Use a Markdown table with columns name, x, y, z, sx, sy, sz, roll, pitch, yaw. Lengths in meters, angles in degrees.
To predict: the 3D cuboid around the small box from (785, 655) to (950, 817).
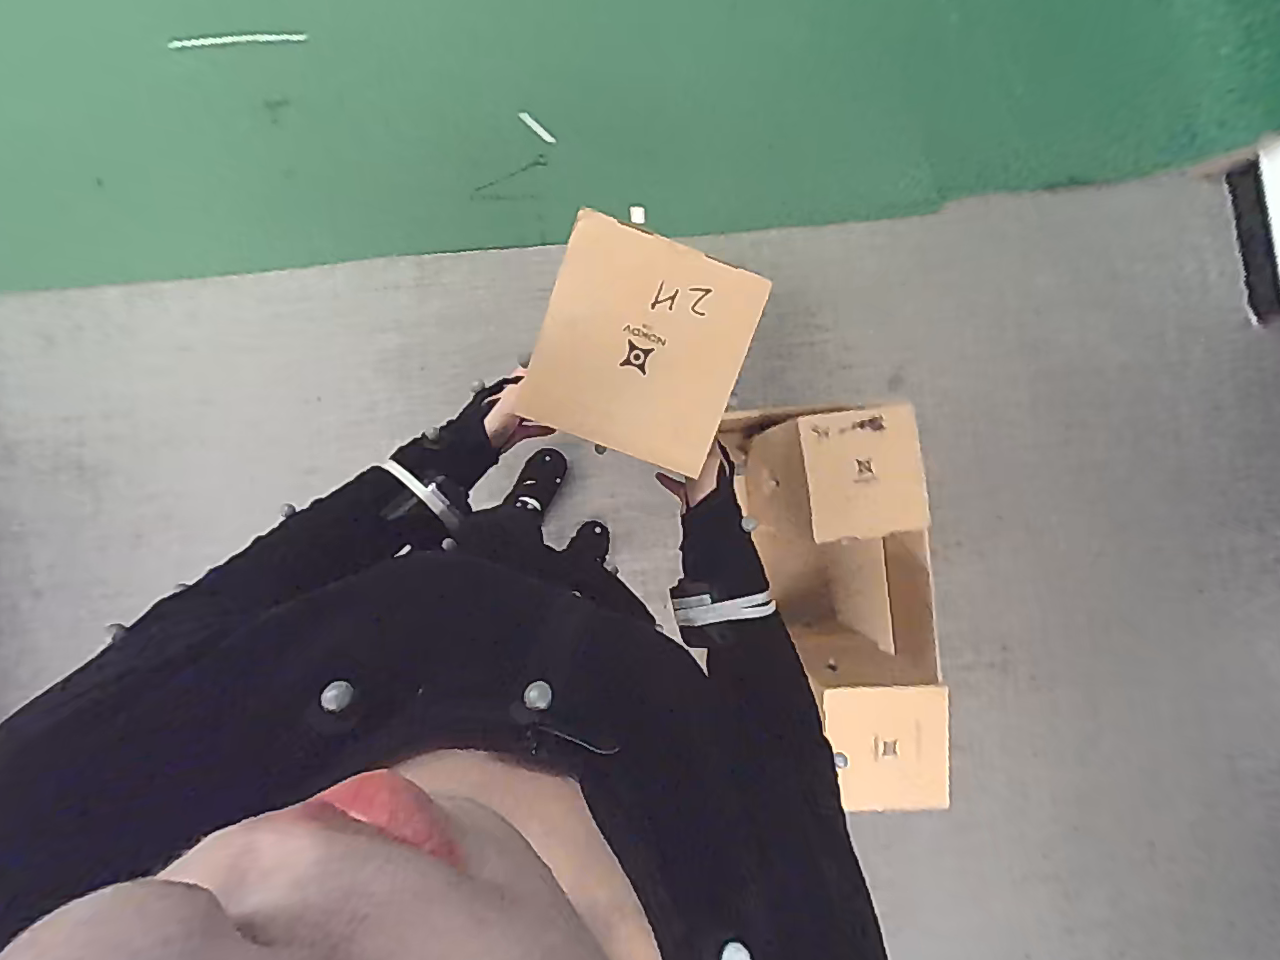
| name | x | y | z | sx | sy | sz | roll | pitch | yaw |
| --- | --- | --- | --- | --- | --- | --- | --- | --- | --- |
| small box | 0.322 | 0.364 | 0.796 | 0.179 | 0.176 | 0.168 | 2 | 89 | -3 |

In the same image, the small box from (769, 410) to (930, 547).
| name | x | y | z | sx | sy | sz | roll | pitch | yaw |
| --- | --- | --- | --- | --- | --- | --- | --- | --- | --- |
| small box | 0.301 | -0.002 | 0.809 | 0.168 | 0.176 | 0.179 | -6 | 89 | -3 |

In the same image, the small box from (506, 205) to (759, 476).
| name | x | y | z | sx | sy | sz | roll | pitch | yaw |
| --- | --- | --- | --- | --- | --- | --- | --- | --- | --- |
| small box | -0.009 | -0.120 | 0.518 | 0.168 | 0.176 | 0.179 | 19 | 97 | -4 |
